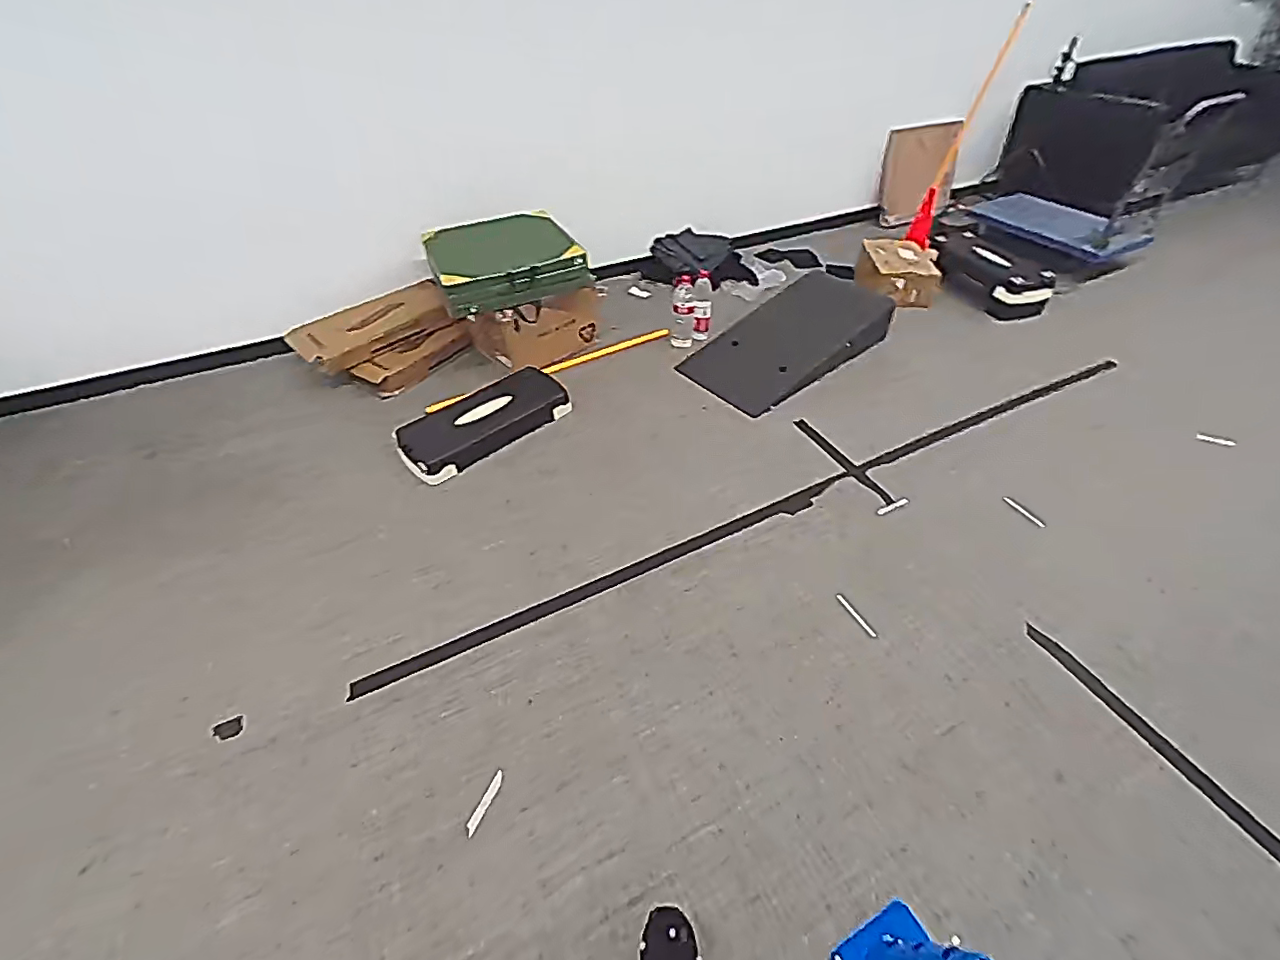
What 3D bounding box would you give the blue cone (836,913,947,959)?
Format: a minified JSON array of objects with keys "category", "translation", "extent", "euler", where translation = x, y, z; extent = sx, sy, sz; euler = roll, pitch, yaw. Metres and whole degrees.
[{"category":"blue cone","translation":[0.476,0.815,0.868],"extent":[0.192,0.380,0.193],"euler":[-20,48,-17]}]
